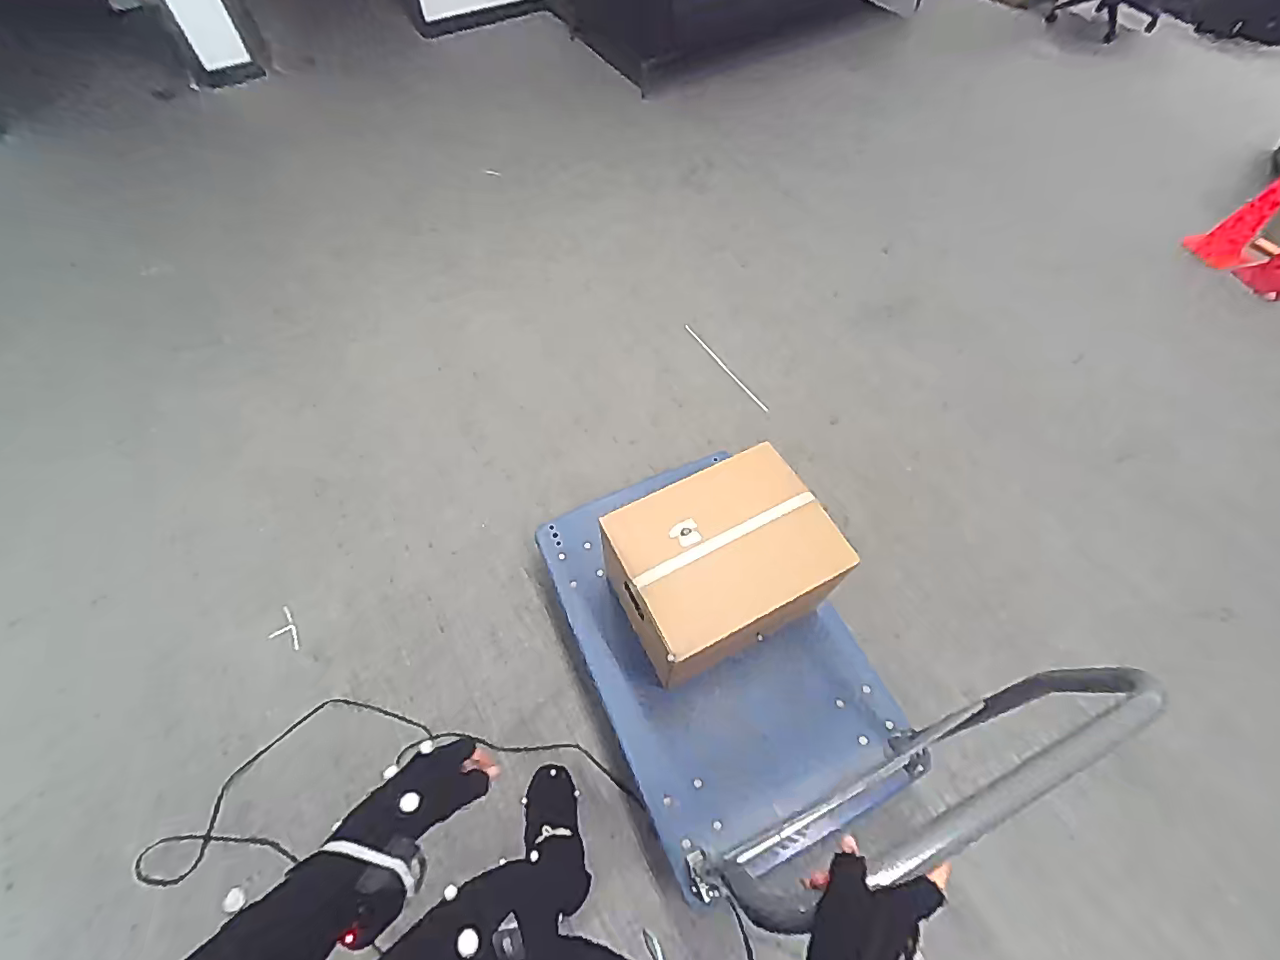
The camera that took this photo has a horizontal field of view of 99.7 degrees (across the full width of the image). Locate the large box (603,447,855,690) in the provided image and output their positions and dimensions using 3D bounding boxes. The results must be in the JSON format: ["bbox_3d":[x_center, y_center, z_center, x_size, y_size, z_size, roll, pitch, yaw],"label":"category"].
[{"bbox_3d":[0.170,0.198,1.175,0.408,0.320,0.320,-26,63,-14],"label":"large box"}]
